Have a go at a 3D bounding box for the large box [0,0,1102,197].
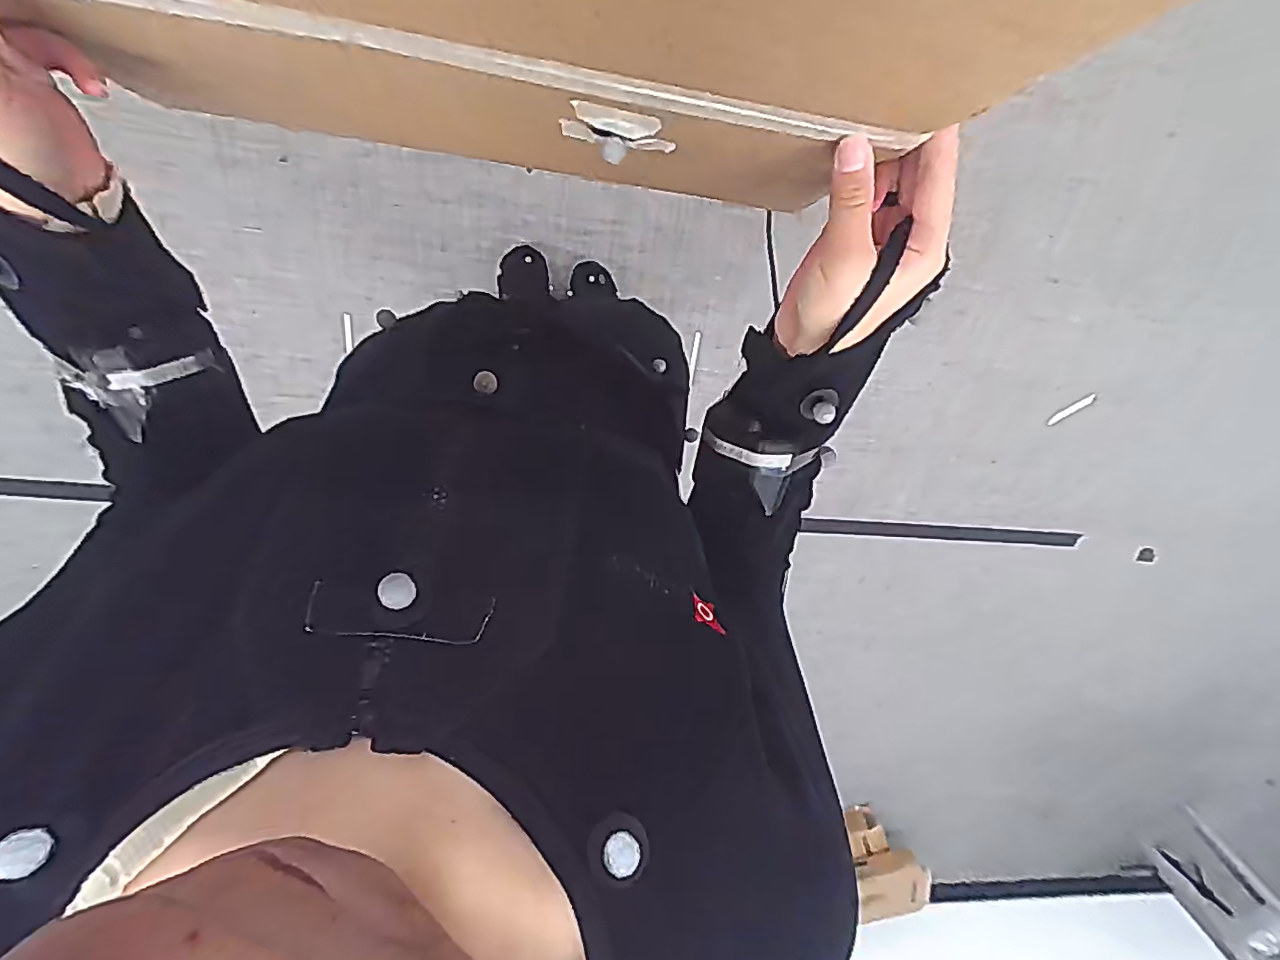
[{"bbox_3d":[-0.059,-0.322,0.177,0.408,0.320,0.320,4,106,-8],"label":"large box"}]
